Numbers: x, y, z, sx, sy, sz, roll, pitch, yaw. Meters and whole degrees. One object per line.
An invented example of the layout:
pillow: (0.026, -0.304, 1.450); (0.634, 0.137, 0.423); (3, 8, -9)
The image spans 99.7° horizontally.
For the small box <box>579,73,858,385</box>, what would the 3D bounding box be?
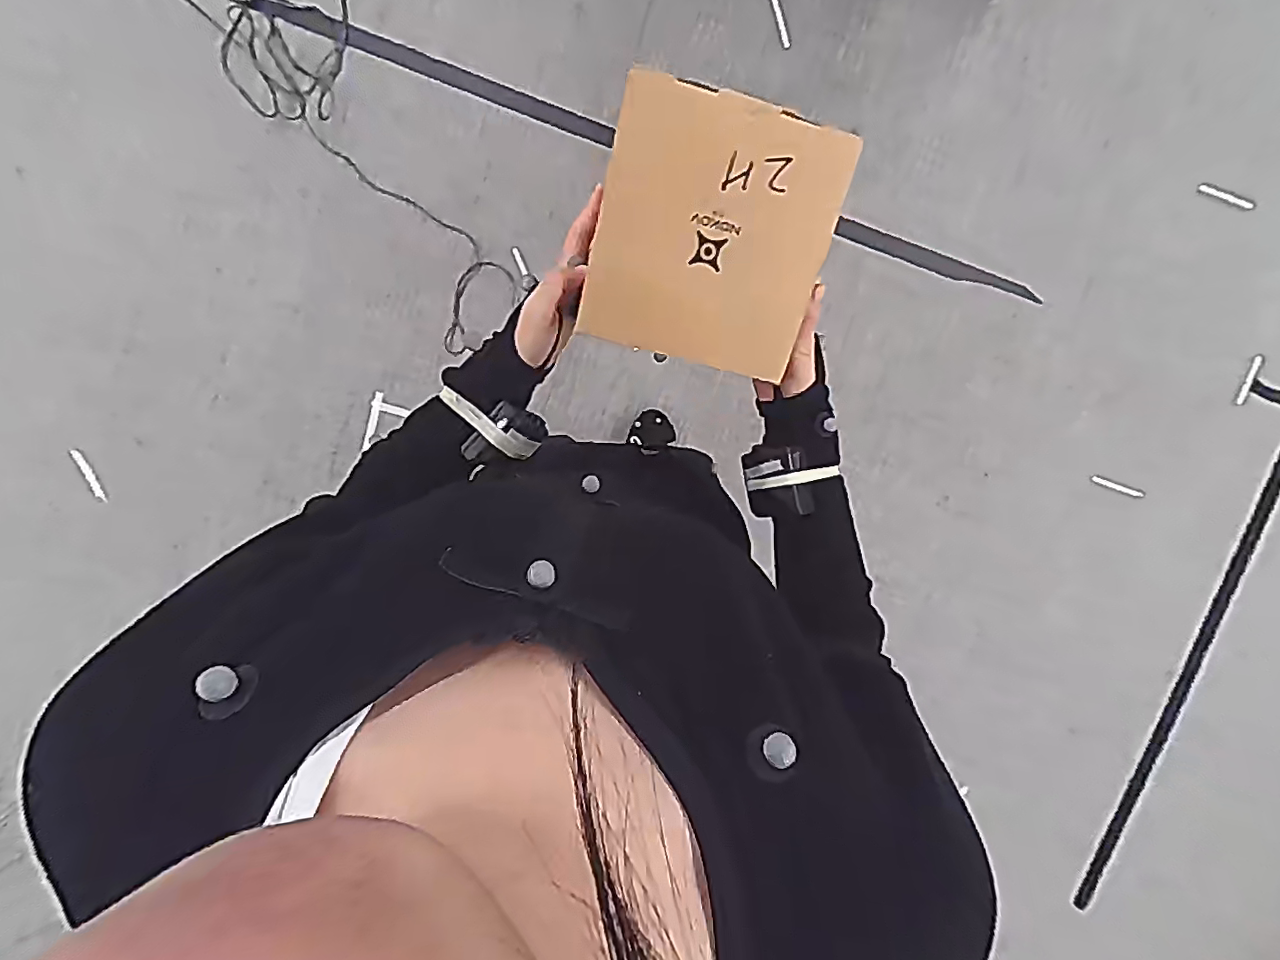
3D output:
small box: (0.051, -0.199, 0.466); (0.168, 0.176, 0.179); (13, 109, -7)

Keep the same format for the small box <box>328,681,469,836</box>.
small box: (-0.431, 0.500, 0.995); (0.168, 0.176, 0.179); (16, 96, -2)
